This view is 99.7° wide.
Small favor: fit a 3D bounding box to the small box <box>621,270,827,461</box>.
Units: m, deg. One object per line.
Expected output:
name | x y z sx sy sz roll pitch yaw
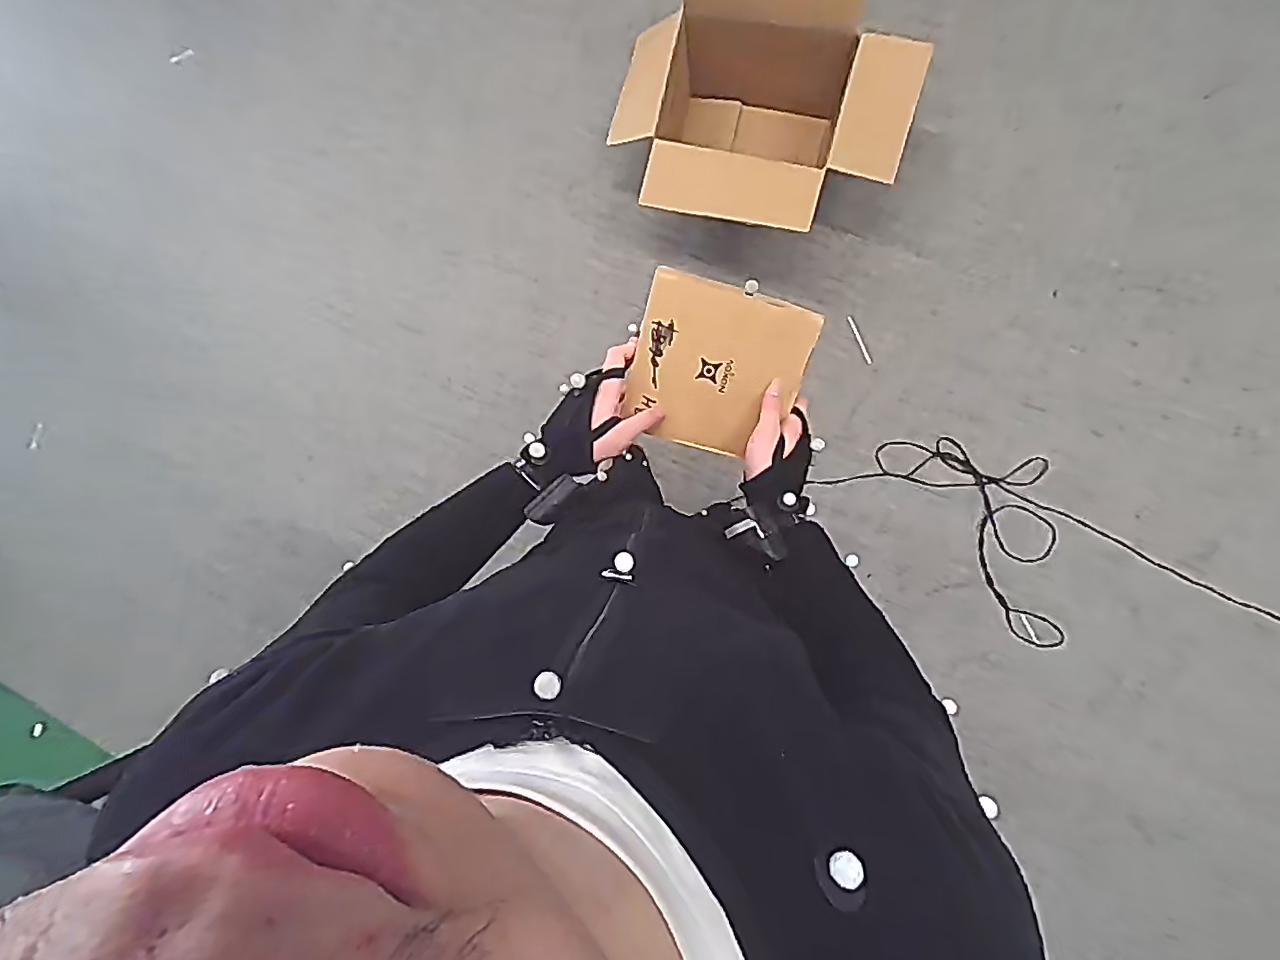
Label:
small box | 0.087 -0.144 0.636 0.179 0.176 0.168 15 112 -3
